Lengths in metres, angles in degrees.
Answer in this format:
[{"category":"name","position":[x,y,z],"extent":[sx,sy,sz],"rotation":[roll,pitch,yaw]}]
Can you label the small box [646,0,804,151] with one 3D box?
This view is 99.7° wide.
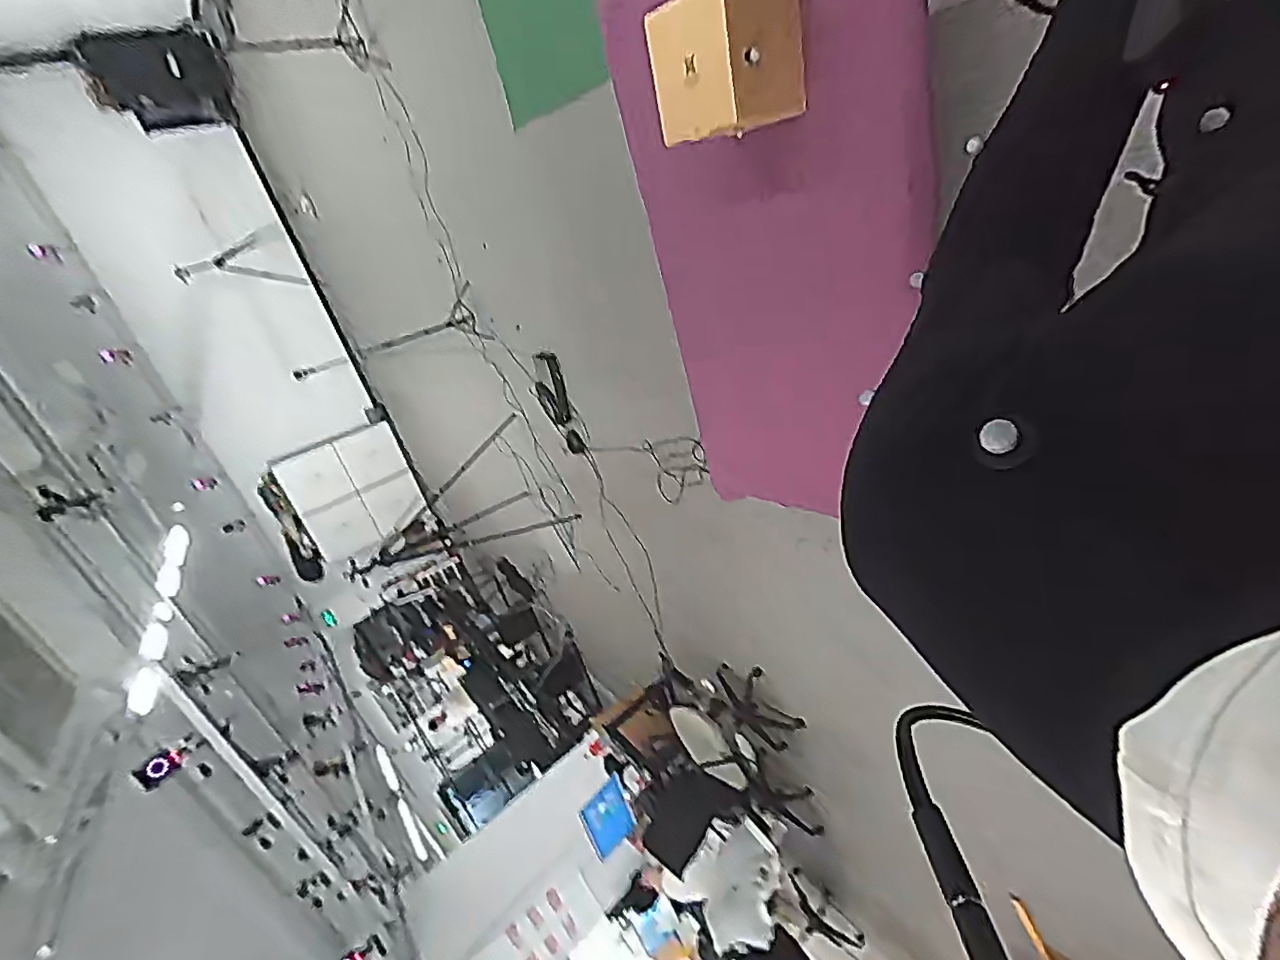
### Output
[{"category":"small box","position":[0.139,-0.645,0.852],"extent":[0.168,0.176,0.179],"rotation":[21,134,47]}]
